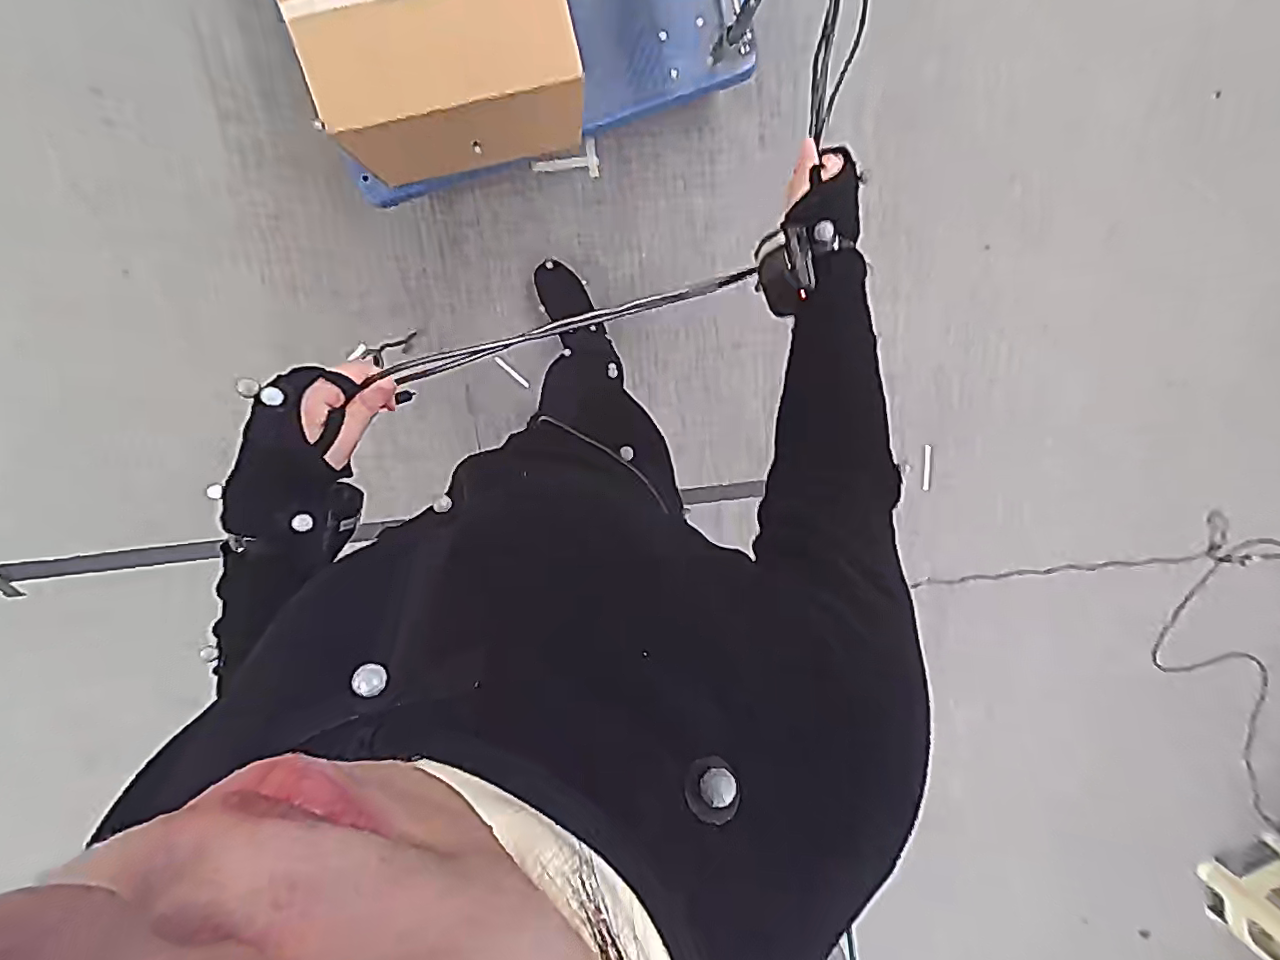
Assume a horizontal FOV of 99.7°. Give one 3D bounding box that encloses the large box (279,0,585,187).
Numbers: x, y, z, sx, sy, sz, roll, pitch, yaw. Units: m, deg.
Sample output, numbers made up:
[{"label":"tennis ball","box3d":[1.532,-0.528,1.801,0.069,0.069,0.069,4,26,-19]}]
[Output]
[{"label":"large box","box3d":[-0.329,-0.745,0.921,0.408,0.320,0.320,-15,105,-2]}]
